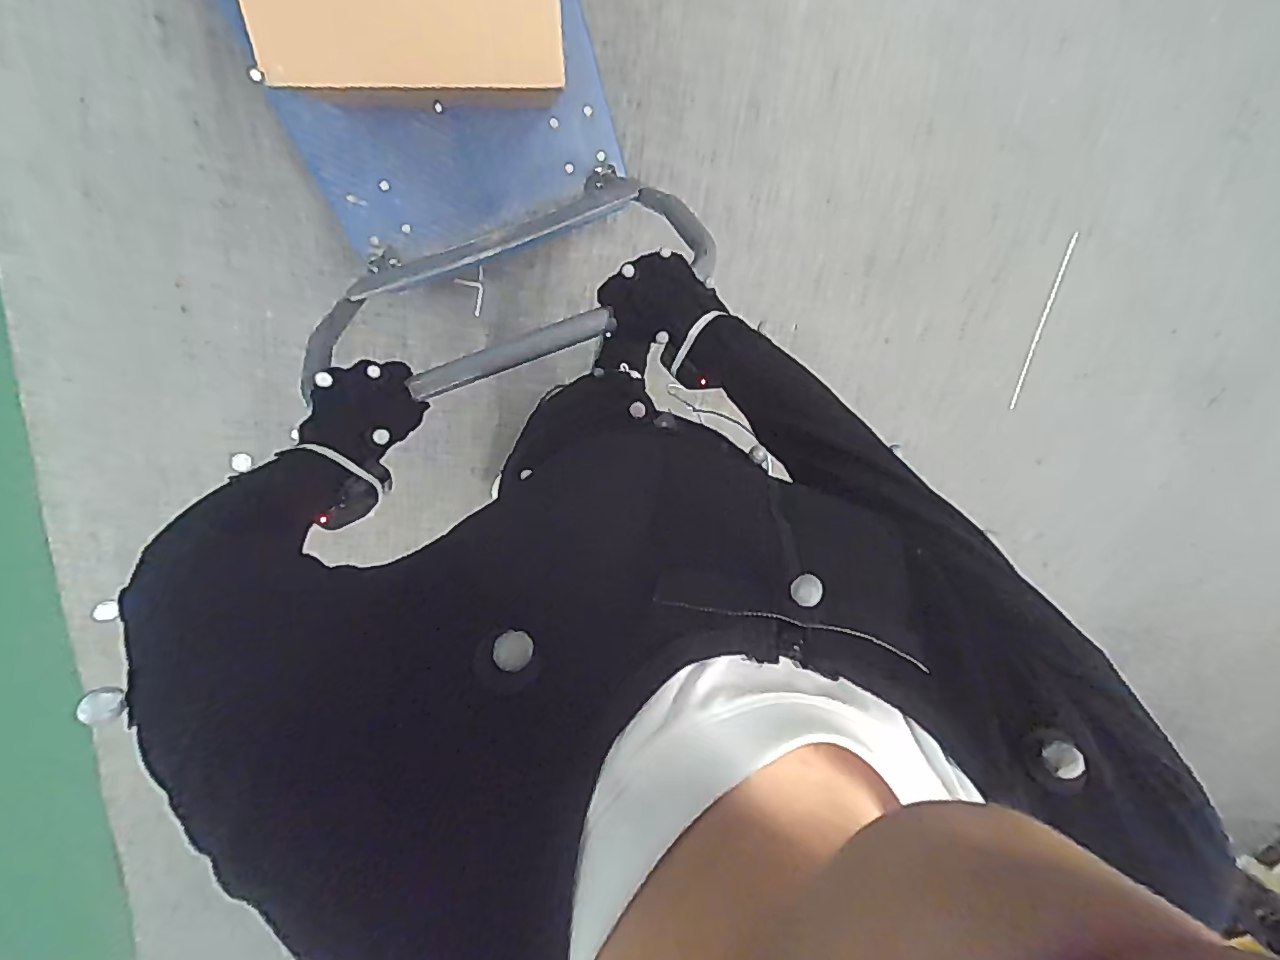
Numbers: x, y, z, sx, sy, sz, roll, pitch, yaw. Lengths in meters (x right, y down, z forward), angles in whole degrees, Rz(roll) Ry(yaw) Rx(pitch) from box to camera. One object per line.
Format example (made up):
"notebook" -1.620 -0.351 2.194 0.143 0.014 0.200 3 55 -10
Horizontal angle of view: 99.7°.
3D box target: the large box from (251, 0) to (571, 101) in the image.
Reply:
"large box" -0.323 -0.761 0.801 0.408 0.320 0.320 -6 122 -8
